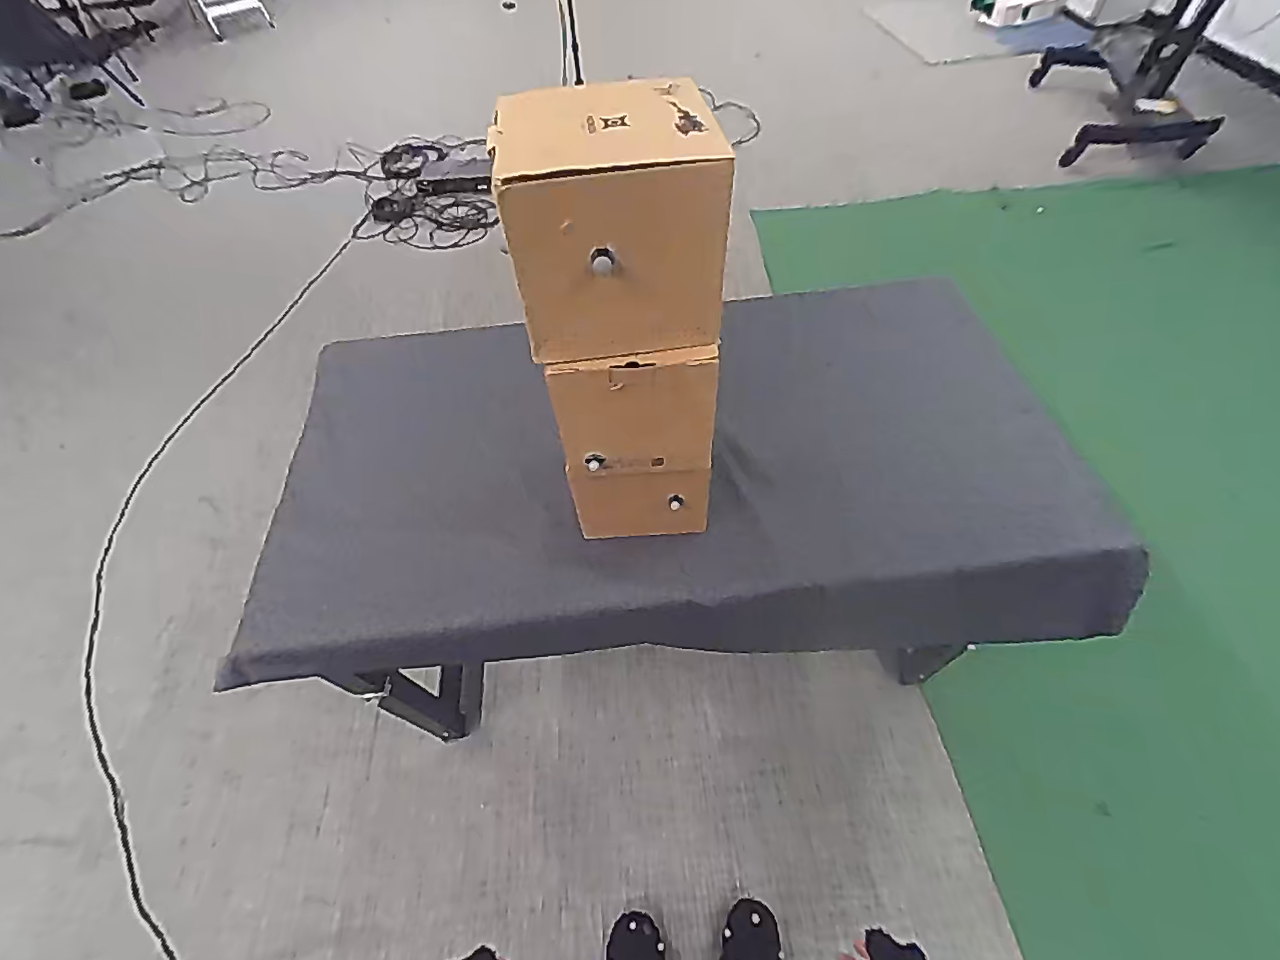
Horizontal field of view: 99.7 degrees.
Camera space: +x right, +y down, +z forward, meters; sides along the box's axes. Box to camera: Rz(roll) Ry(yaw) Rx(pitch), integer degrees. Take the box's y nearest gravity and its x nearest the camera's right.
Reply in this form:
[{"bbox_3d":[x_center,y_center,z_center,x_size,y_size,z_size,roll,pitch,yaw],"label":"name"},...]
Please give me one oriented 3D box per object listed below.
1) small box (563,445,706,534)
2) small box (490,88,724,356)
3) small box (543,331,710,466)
[{"bbox_3d":[-0.005,-0.038,0.763,0.179,0.176,0.168,-5,53,2],"label":"small box"},{"bbox_3d":[-0.031,-0.234,0.505,0.179,0.176,0.168,-10,52,-5],"label":"small box"},{"bbox_3d":[-0.015,-0.129,0.627,0.168,0.176,0.179,-6,55,-1],"label":"small box"}]
